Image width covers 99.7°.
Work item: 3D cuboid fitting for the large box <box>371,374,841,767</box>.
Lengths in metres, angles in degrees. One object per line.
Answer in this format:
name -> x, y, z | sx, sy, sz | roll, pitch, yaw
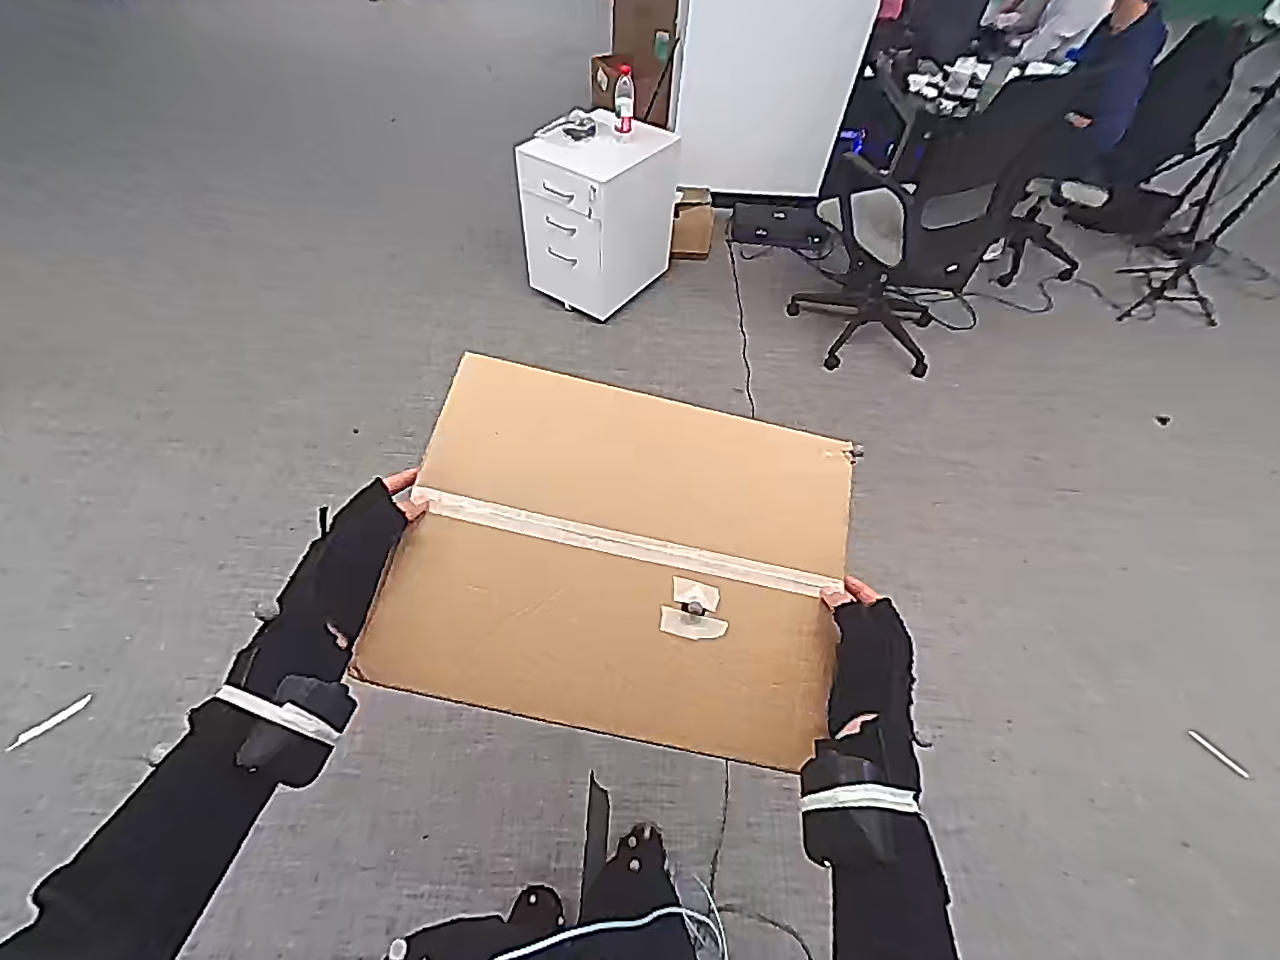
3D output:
large box -> -0.026, 0.119, 0.651 | 0.408, 0.320, 0.320 | 13, 70, -2
